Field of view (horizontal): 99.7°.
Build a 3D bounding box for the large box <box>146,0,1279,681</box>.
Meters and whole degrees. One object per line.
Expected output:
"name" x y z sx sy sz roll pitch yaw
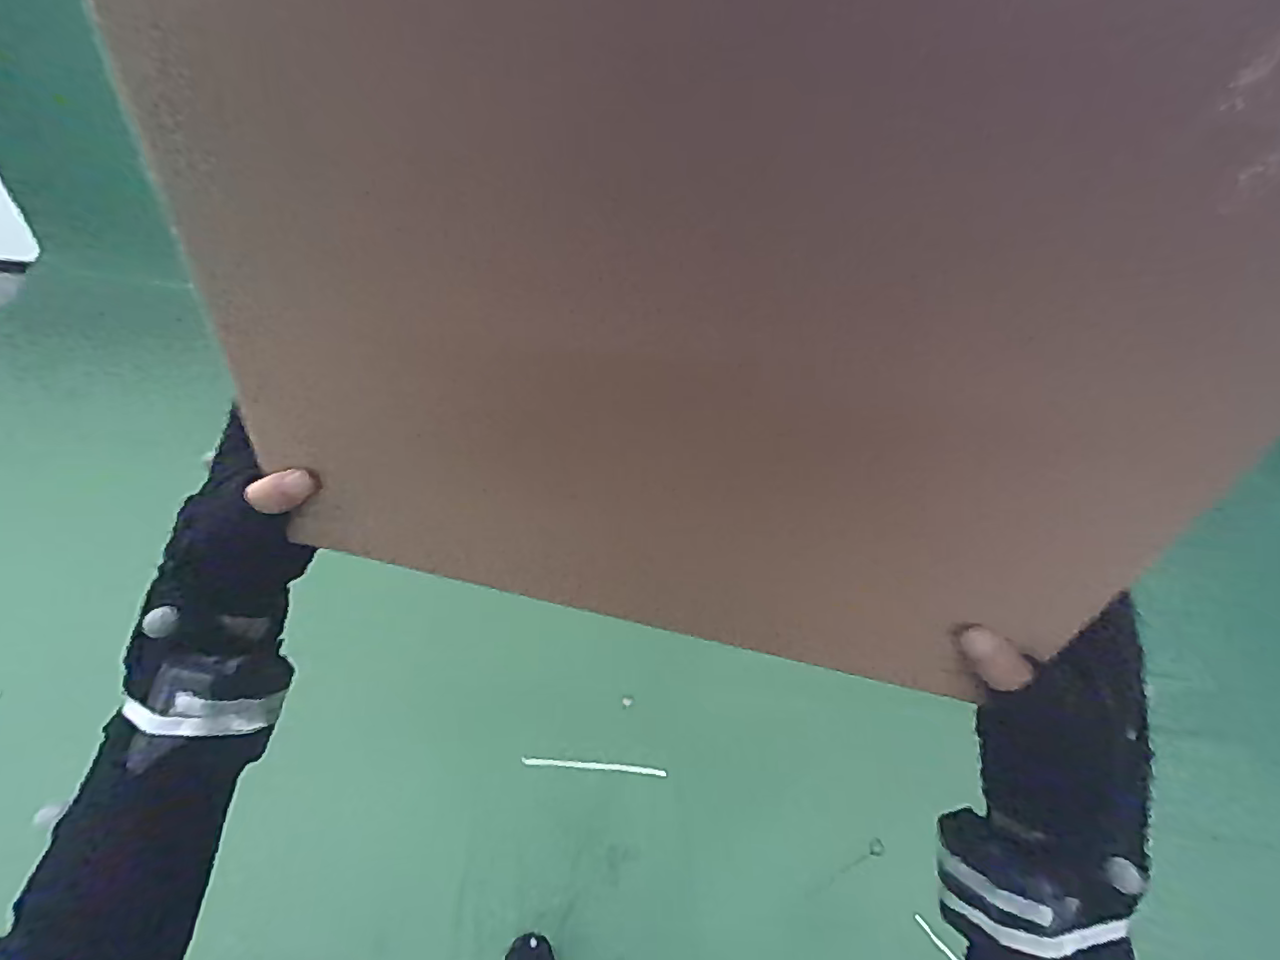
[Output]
"large box" 0.043 -0.131 0.332 0.408 0.320 0.320 13 38 3
